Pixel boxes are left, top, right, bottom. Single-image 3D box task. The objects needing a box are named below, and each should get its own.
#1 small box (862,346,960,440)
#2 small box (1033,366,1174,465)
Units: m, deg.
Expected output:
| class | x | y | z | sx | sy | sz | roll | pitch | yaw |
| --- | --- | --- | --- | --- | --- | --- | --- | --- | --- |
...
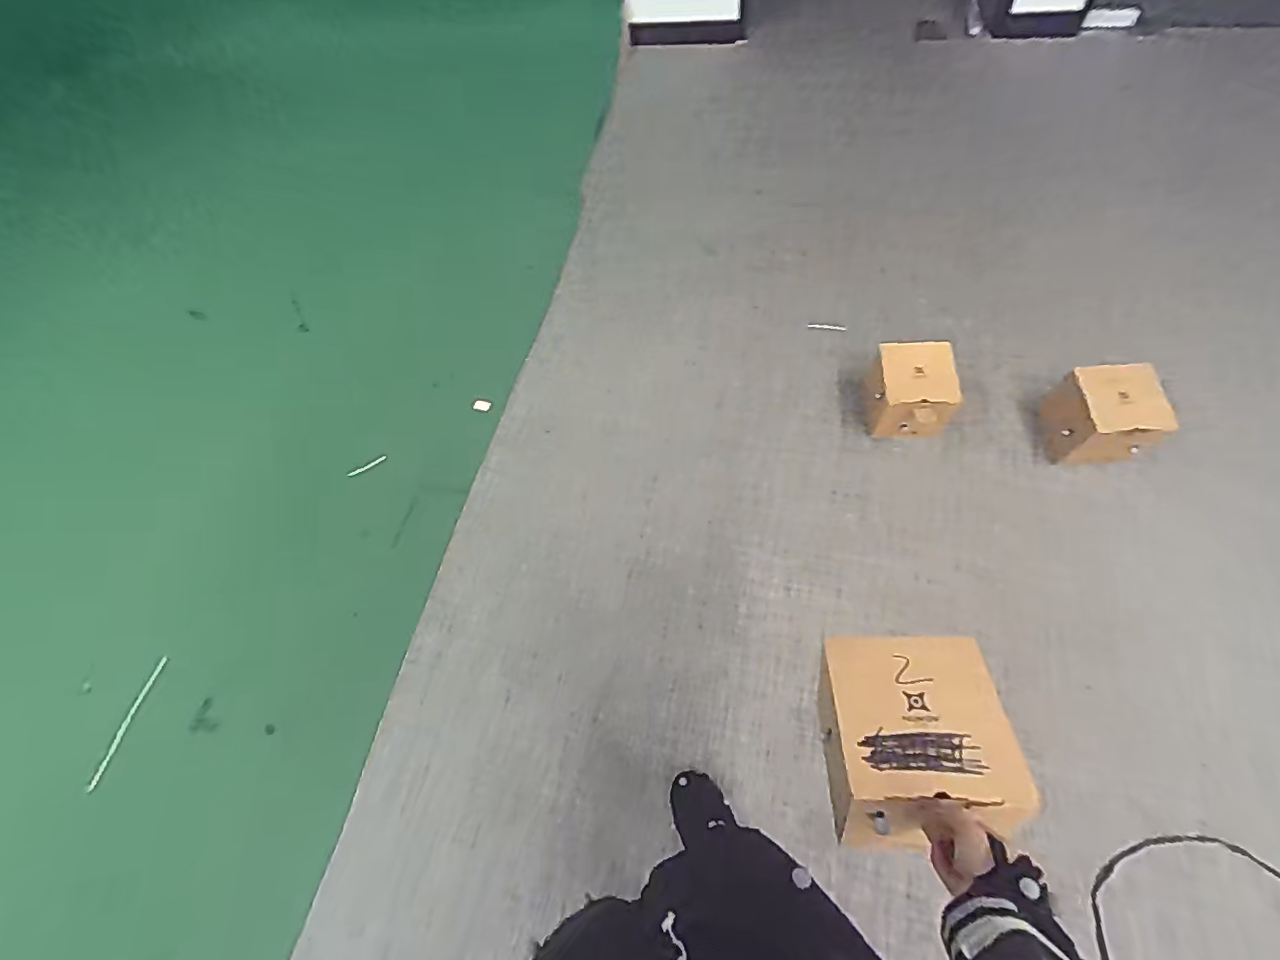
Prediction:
| class | x | y | z | sx | sy | sz | roll | pitch | yaw |
| --- | --- | --- | --- | --- | --- | --- | --- | --- | --- |
| small box | 0.672 | -0.216 | 1.363 | 0.168 | 0.176 | 0.179 | 0 | 66 | 8 |
| small box | 1.076 | -0.143 | 1.273 | 0.168 | 0.176 | 0.179 | -2 | 64 | 5 |
